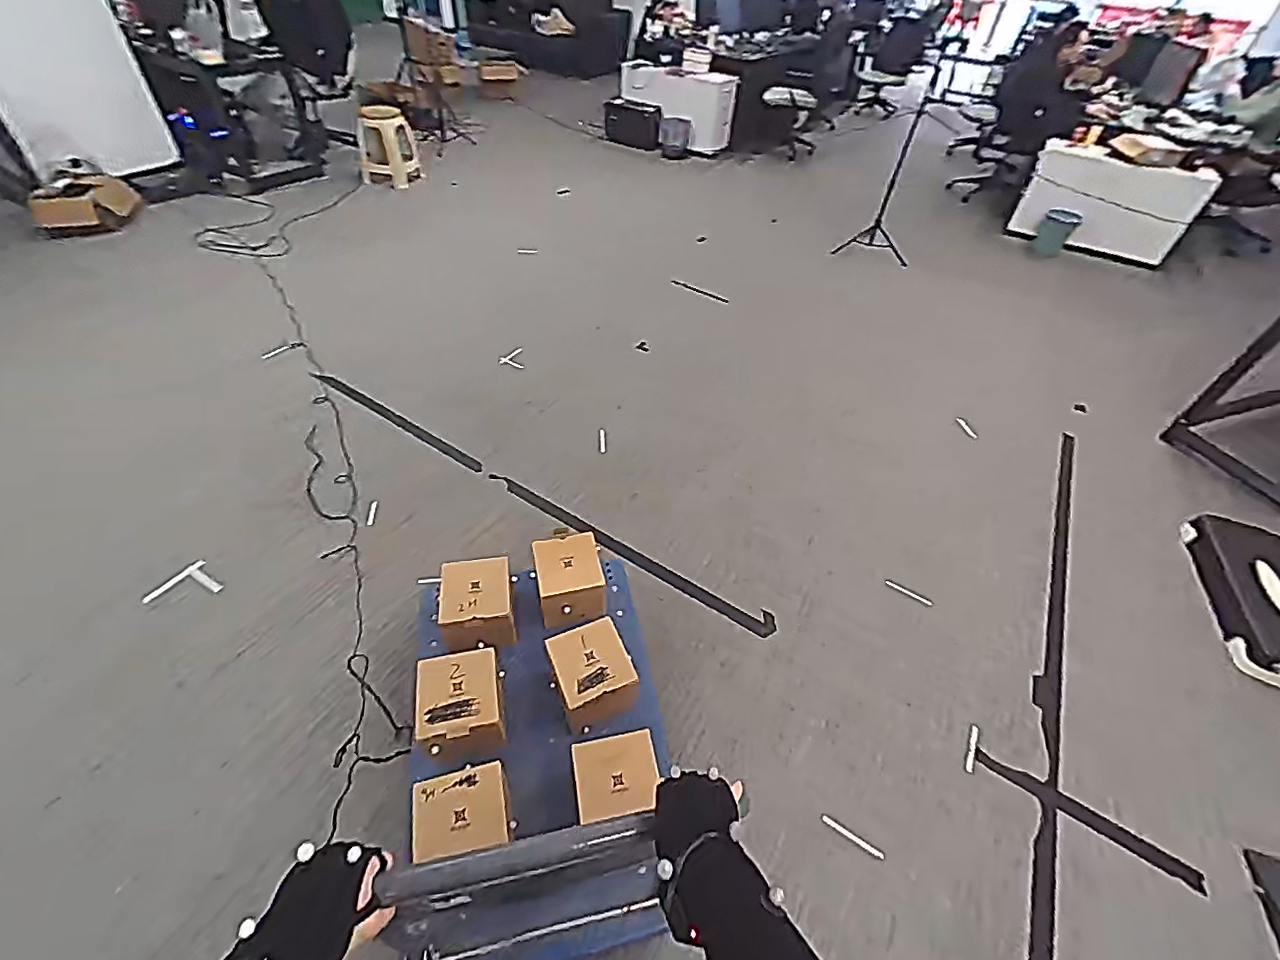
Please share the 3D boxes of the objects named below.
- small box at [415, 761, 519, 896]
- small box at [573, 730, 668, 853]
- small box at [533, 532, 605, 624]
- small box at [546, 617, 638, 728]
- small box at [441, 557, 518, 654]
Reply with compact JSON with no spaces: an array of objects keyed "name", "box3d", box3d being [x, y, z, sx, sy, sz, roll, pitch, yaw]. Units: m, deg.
[{"name":"small box","box3d":[-0.333,0.682,1.053,0.168,0.176,0.179,-9,48,-15]},{"name":"small box","box3d":[-0.045,0.646,1.116,0.168,0.176,0.179,-6,47,-11]},{"name":"small box","box3d":[-0.190,0.271,1.463,0.168,0.176,0.179,-9,48,-13]},{"name":"small box","box3d":[-0.114,0.463,1.284,0.168,0.176,0.179,-16,49,-19]},{"name":"small box","box3d":[-0.408,0.323,1.391,0.168,0.176,0.179,-5,48,-10]}]
